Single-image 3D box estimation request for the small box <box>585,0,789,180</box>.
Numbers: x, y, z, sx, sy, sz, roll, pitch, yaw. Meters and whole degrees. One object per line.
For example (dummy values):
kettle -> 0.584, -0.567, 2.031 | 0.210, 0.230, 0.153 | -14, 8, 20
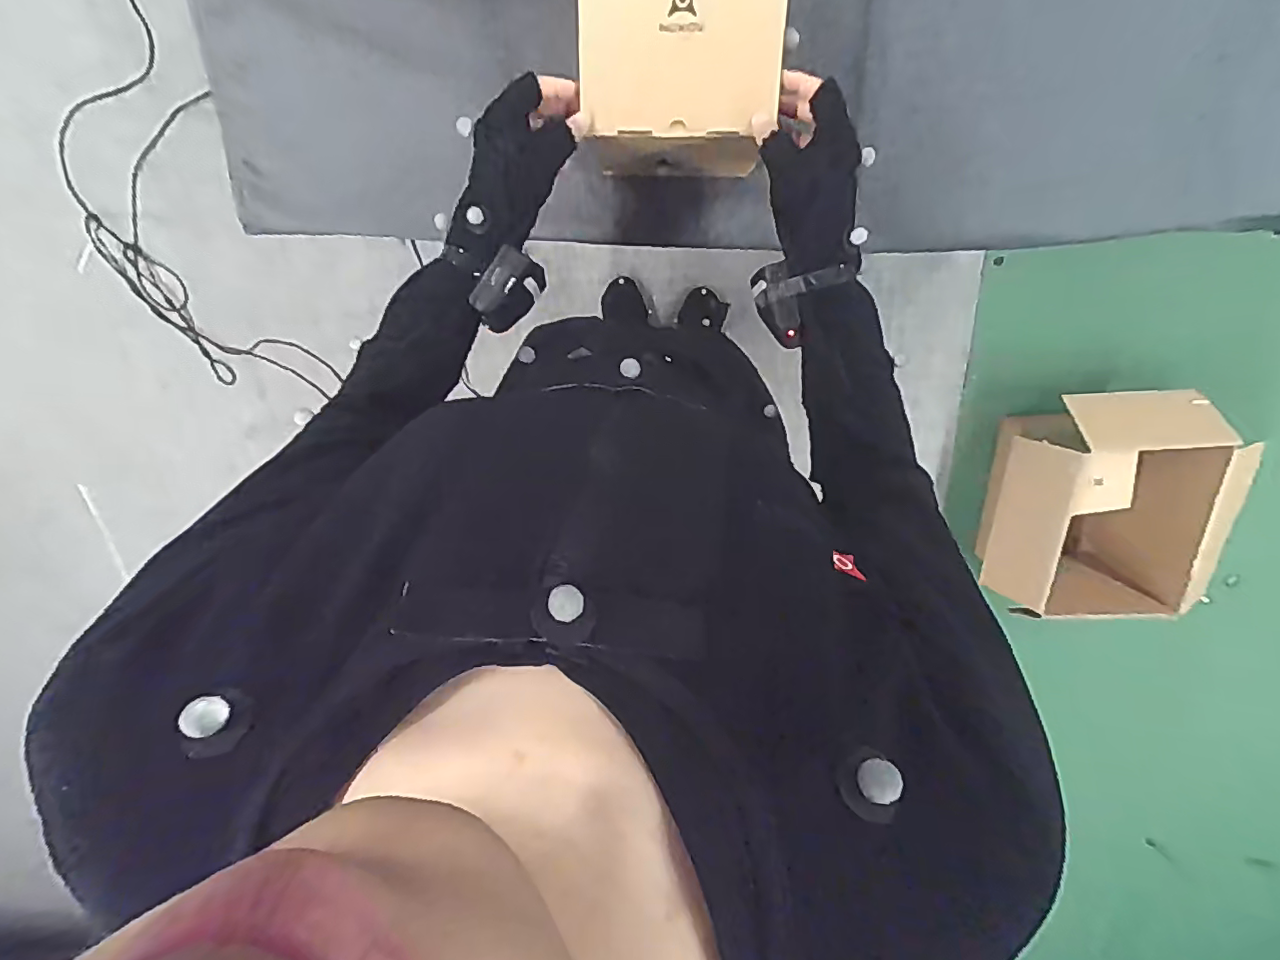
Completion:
small box -> 0.039, -0.397, 0.506 | 0.168, 0.176, 0.179 | 2, 110, 2
